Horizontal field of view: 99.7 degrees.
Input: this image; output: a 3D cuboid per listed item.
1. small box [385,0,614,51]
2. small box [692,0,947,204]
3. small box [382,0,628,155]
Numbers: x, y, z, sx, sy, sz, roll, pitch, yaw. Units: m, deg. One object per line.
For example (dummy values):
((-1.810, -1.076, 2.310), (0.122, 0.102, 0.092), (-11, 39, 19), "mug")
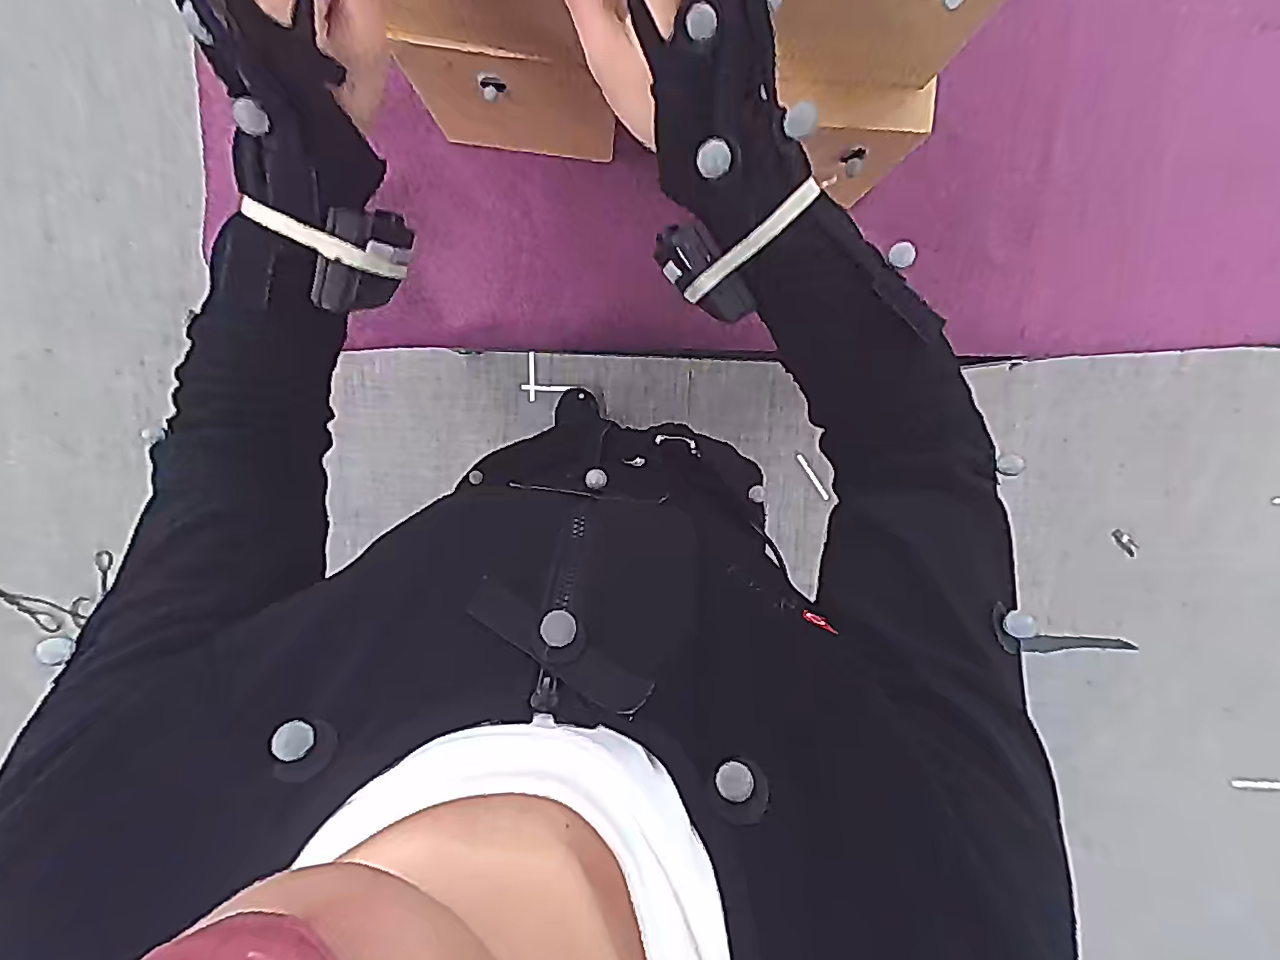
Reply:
((-0.092, -0.405, 0.324), (0.179, 0.176, 0.168), (9, 97, -3), "small box")
((0.150, -0.372, 0.498), (0.179, 0.176, 0.168), (2, 97, -1), "small box")
((-0.104, -0.421, 0.485), (0.179, 0.176, 0.168), (6, 97, -3), "small box")
